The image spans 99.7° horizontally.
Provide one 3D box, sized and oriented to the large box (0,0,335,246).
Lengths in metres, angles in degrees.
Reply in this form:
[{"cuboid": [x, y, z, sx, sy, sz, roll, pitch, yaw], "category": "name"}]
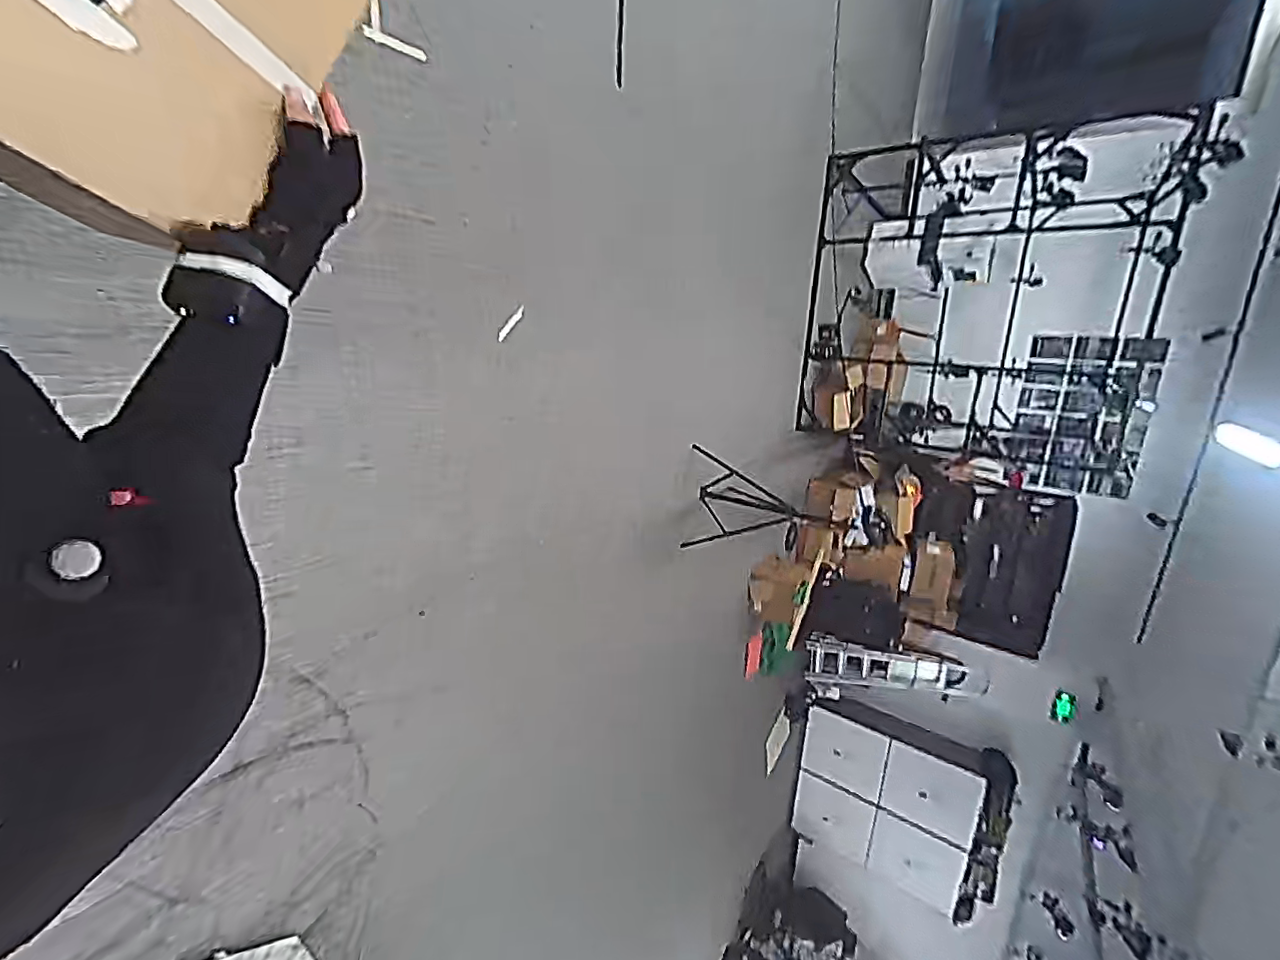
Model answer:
[{"cuboid": [-0.510, -0.424, 0.364, 0.408, 0.320, 0.320, 29, 83, -62], "category": "large box"}]
